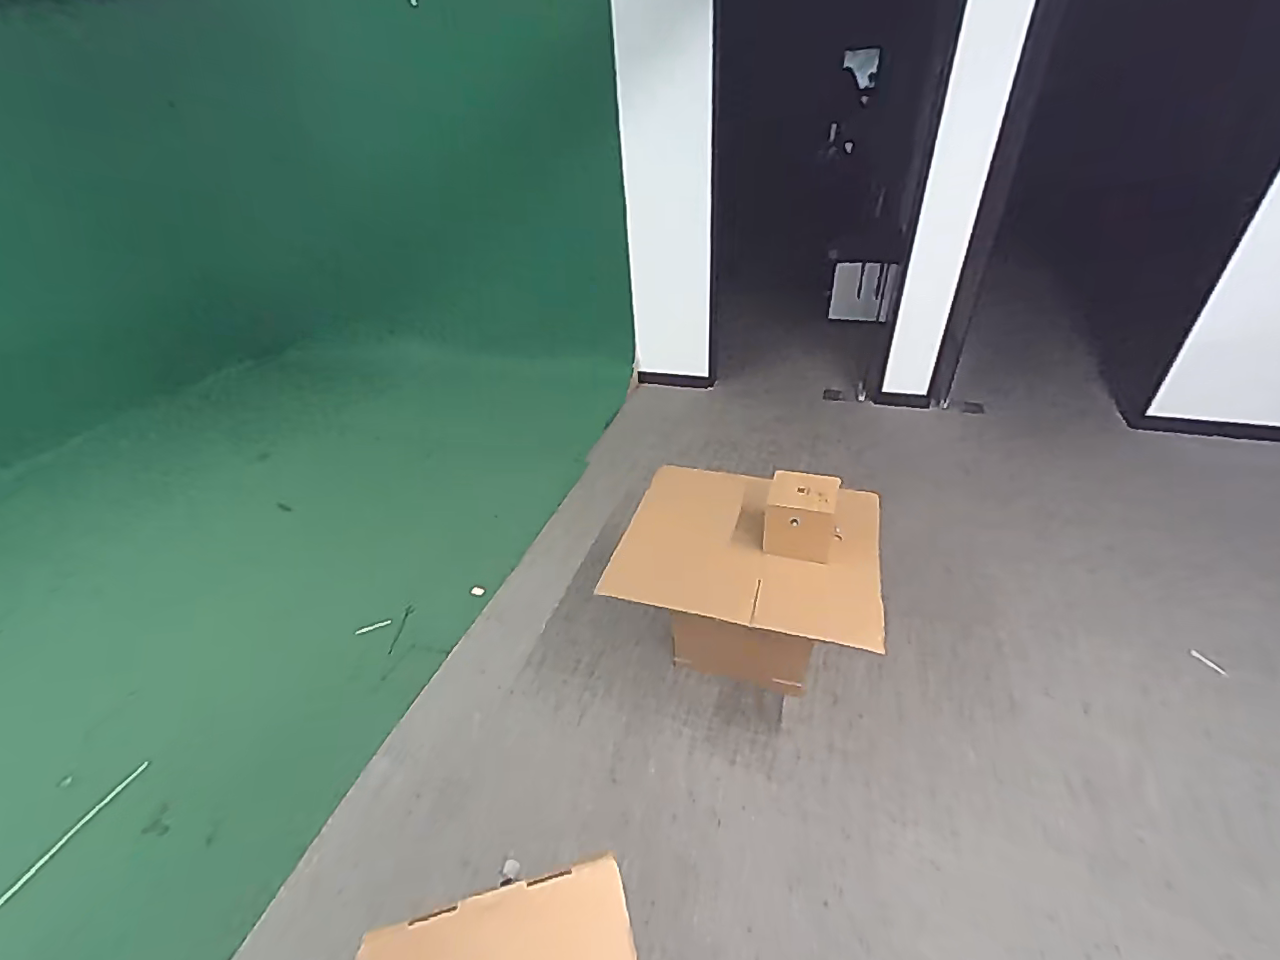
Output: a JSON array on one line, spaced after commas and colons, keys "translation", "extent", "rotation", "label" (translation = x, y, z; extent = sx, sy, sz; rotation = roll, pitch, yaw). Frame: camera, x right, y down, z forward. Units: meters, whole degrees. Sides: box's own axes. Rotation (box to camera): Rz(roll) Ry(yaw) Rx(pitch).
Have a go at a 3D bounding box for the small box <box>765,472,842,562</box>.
[{"translation": [0.439, 0.100, 1.458], "extent": [0.179, 0.176, 0.168], "rotation": [8, 37, 20], "label": "small box"}]
